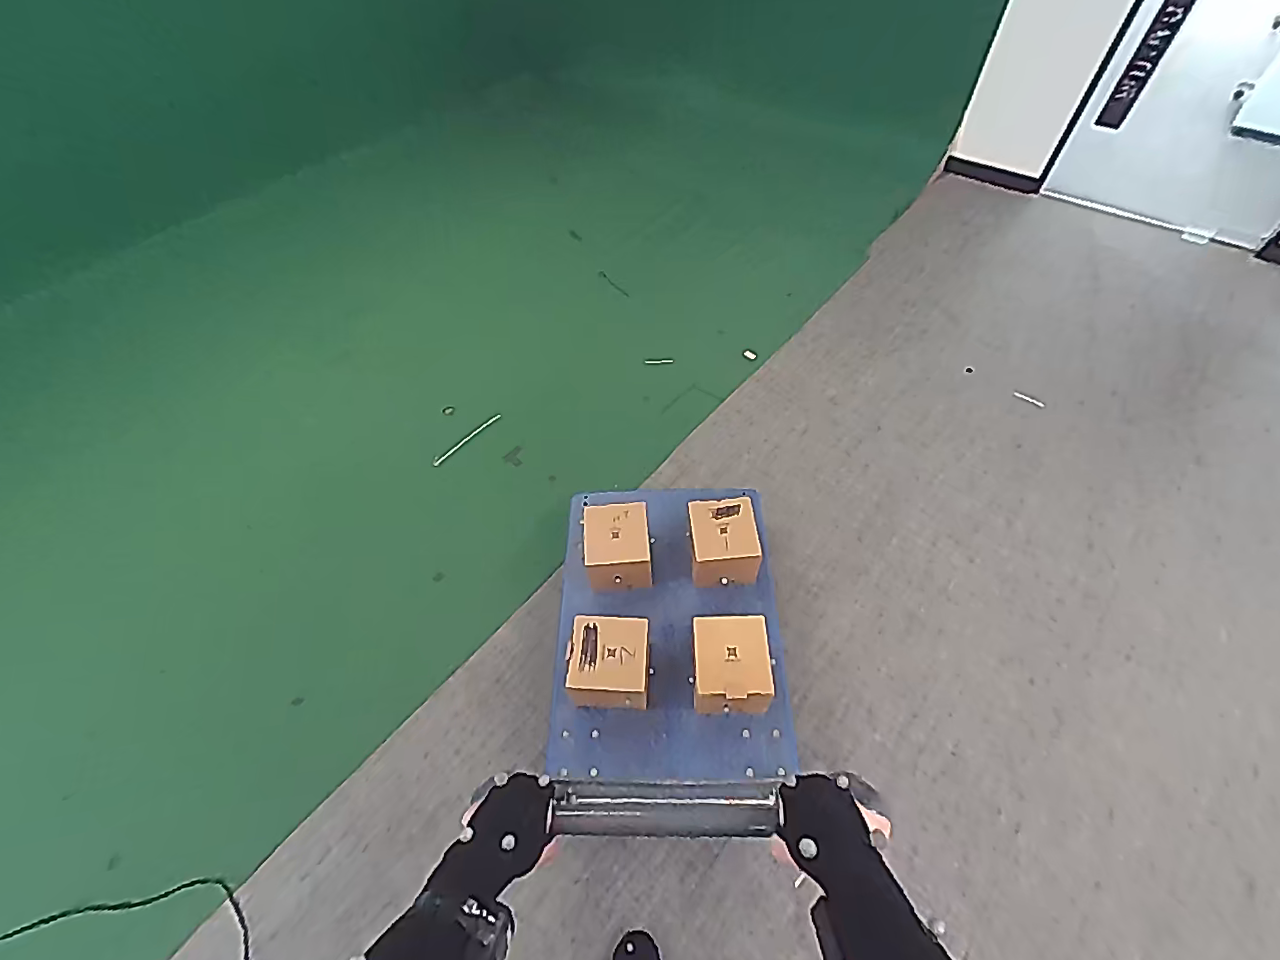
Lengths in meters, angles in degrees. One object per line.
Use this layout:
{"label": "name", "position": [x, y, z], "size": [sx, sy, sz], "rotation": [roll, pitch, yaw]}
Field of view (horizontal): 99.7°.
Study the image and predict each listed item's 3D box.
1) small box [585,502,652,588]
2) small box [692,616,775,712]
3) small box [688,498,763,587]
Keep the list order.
{"label": "small box", "position": [-0.056, 0.180, 1.446], "size": [0.168, 0.176, 0.179], "rotation": [-4, 56, -1]}
{"label": "small box", "position": [0.209, 0.432, 1.261], "size": [0.168, 0.176, 0.179], "rotation": [-1, 56, 2]}
{"label": "small box", "position": [0.220, 0.169, 1.440], "size": [0.168, 0.176, 0.179], "rotation": [-5, 56, 0]}
